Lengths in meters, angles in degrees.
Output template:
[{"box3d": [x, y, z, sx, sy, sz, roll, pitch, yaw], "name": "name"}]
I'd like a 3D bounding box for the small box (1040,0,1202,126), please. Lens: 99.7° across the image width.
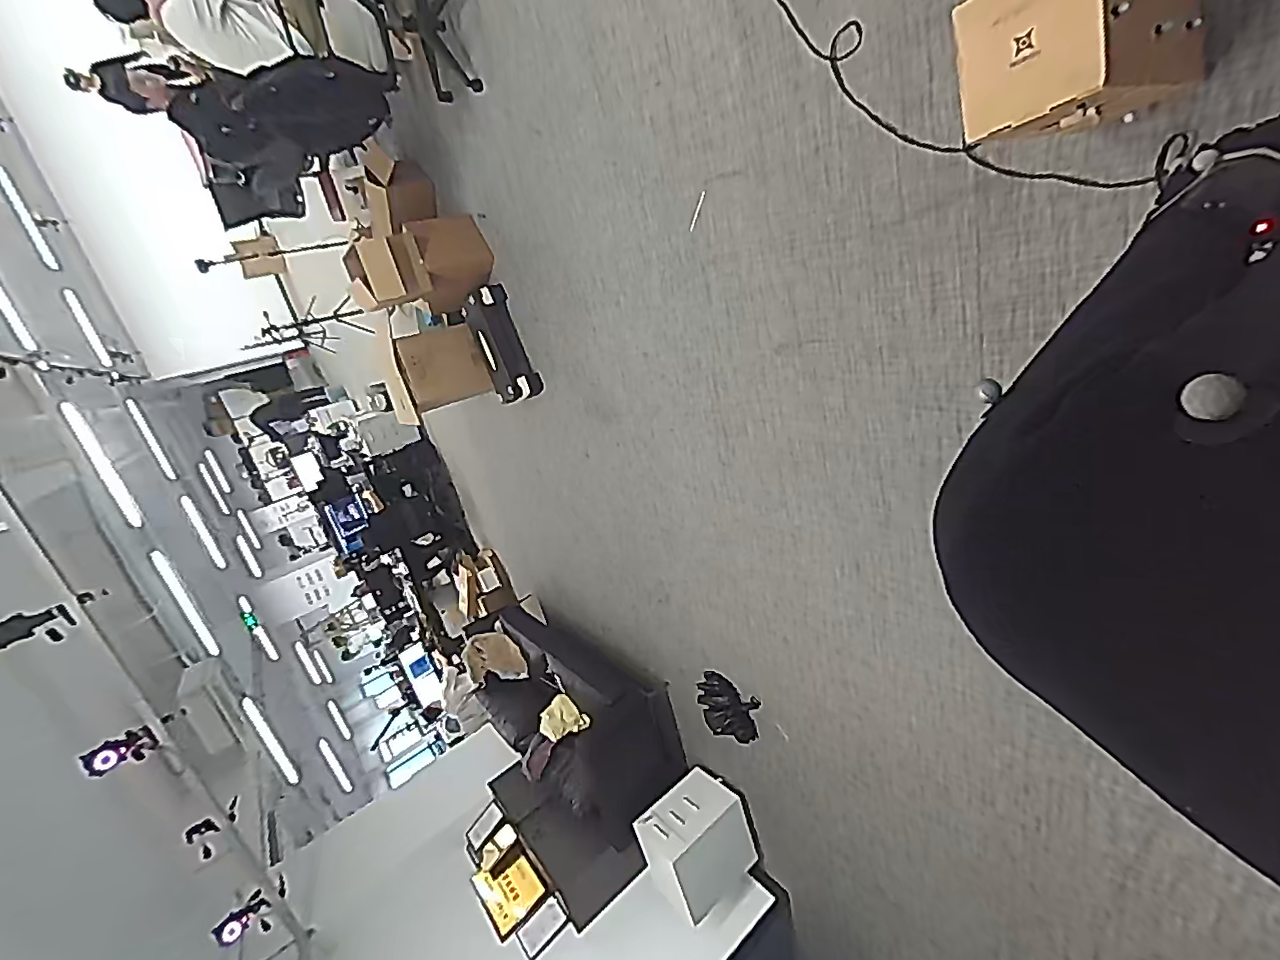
[{"box3d": [0.812, -0.734, 0.913, 0.168, 0.176, 0.179, 2, 115, 56], "name": "small box"}]
